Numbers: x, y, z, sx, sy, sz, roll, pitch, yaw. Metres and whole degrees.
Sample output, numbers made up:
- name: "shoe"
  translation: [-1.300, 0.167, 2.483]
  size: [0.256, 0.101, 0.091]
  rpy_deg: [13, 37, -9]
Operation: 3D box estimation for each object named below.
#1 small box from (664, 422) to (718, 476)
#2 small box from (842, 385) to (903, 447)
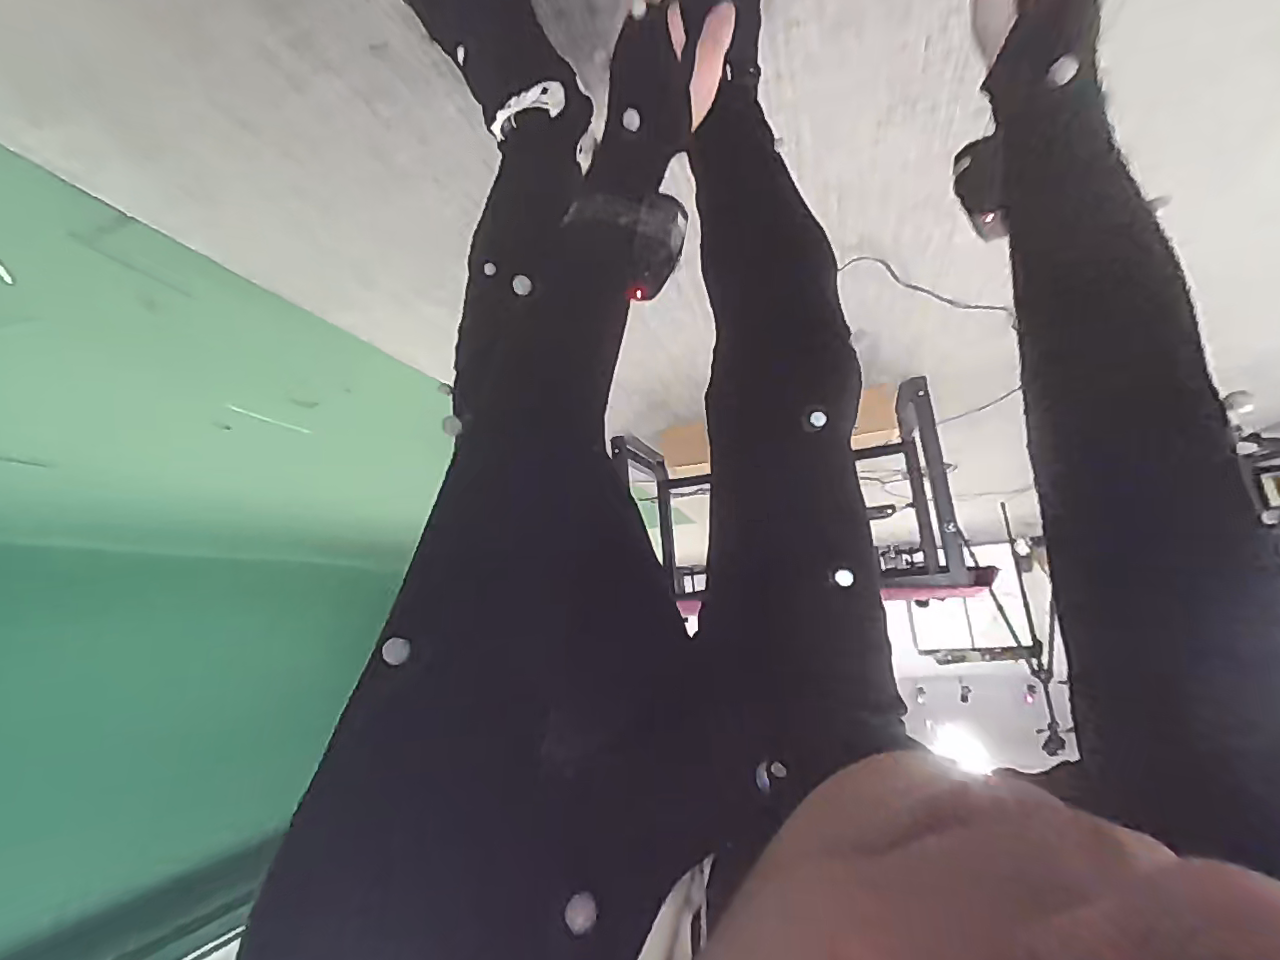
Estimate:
- name: "small box"
  translation: [0.208, -0.125, 2.184]
  size: [0.179, 0.176, 0.168]
  rpy_deg: [-9, 166, 17]
- name: "small box"
  translation: [0.833, -0.232, 1.947]
  size: [0.179, 0.176, 0.168]
  rpy_deg: [-9, 166, 20]
